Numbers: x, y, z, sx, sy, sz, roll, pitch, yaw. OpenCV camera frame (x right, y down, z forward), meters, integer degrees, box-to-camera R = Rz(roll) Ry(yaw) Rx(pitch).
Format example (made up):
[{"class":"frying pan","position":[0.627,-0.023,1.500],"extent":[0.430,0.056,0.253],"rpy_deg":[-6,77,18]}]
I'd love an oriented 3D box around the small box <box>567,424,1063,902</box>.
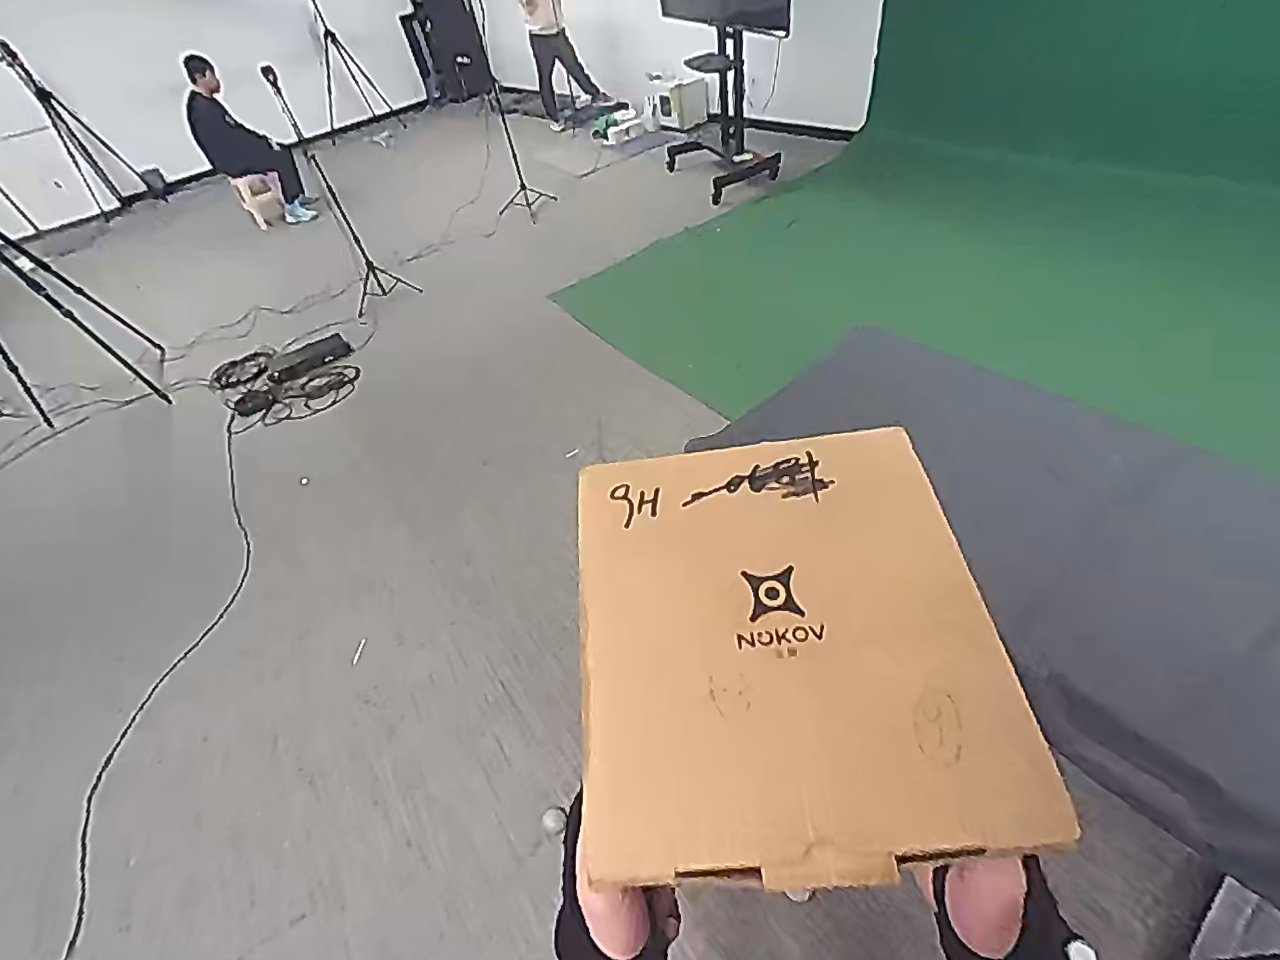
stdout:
[{"class":"small box","position":[0.058,0.095,0.288],"extent":[0.168,0.176,0.179],"rpy_deg":[-6,59,1]}]
